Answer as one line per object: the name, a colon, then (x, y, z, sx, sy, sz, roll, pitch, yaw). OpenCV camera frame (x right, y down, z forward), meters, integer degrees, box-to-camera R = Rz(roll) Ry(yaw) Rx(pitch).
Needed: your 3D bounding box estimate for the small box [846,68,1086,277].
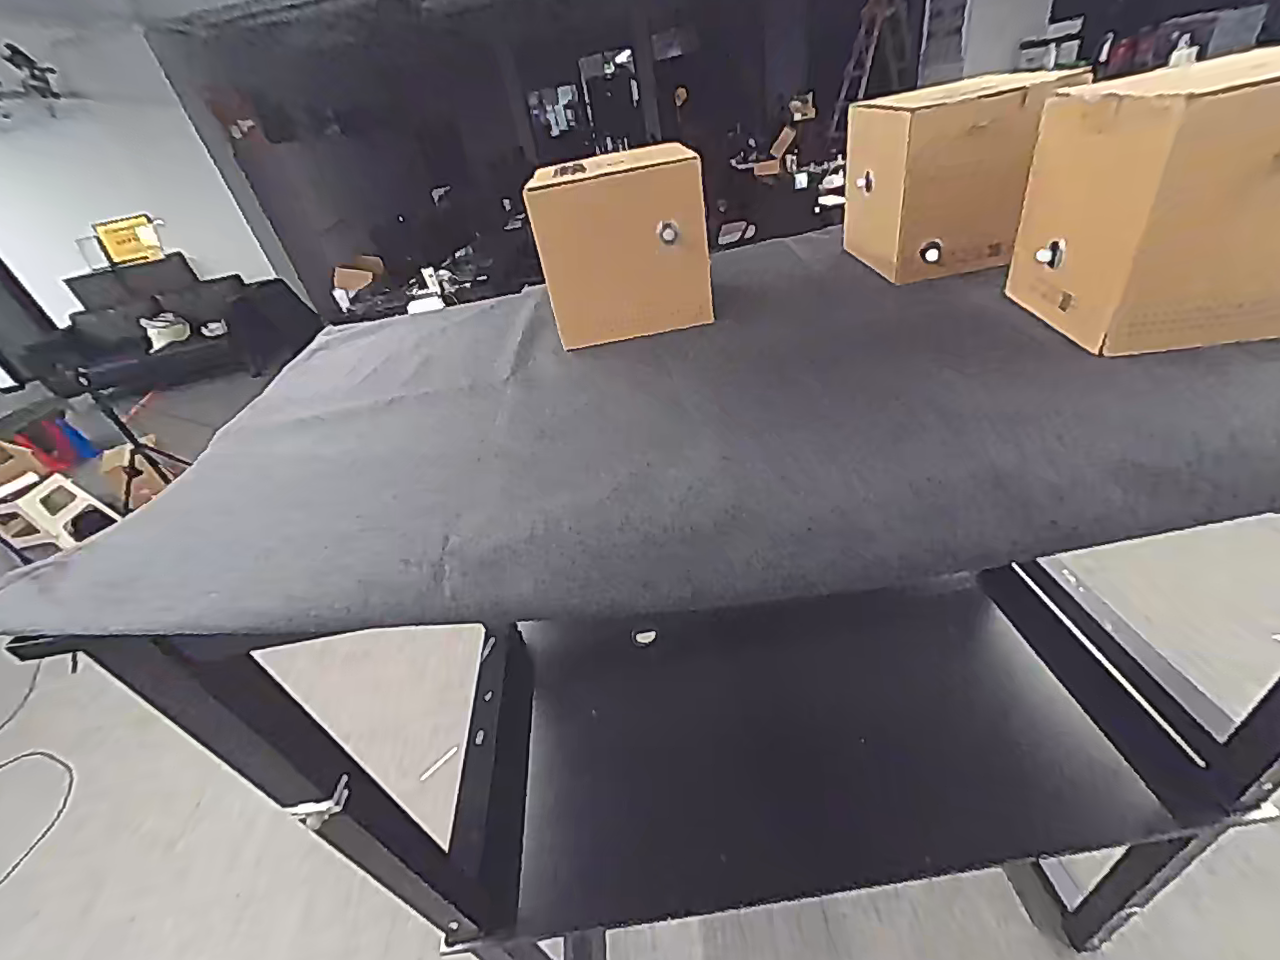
small box: (0.344, -0.343, 0.614, 0.168, 0.176, 0.179, -10, 35, 5)

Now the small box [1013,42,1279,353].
small box: (0.422, -0.211, 0.406, 0.179, 0.176, 0.168, -6, 34, 11)
